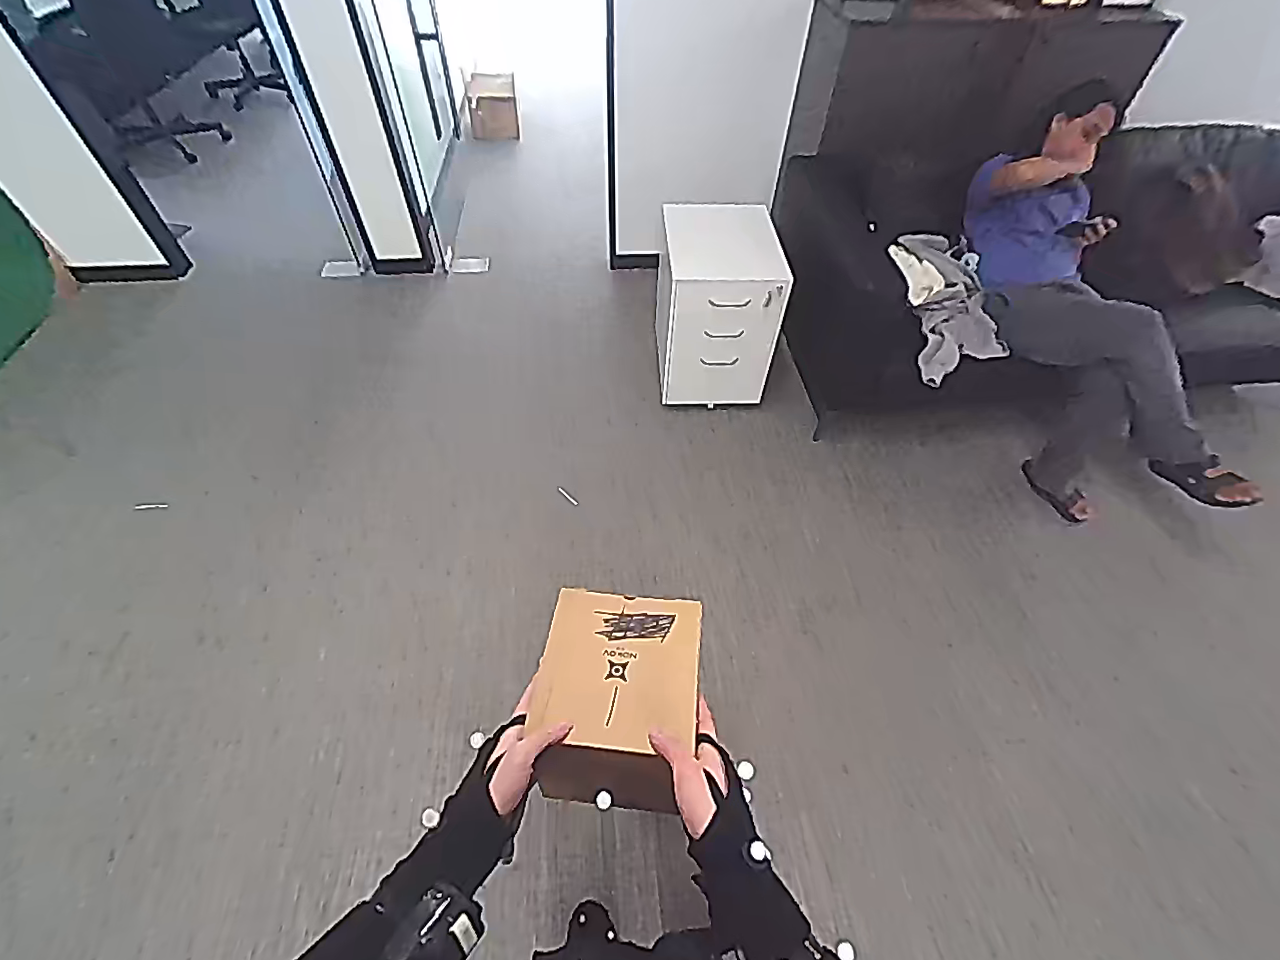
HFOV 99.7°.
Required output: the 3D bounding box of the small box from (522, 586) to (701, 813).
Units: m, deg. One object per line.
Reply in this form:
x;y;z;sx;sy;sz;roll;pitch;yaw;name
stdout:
-0.024;0.250;0.622;0.168;0.176;0.179;6;44;5;small box
